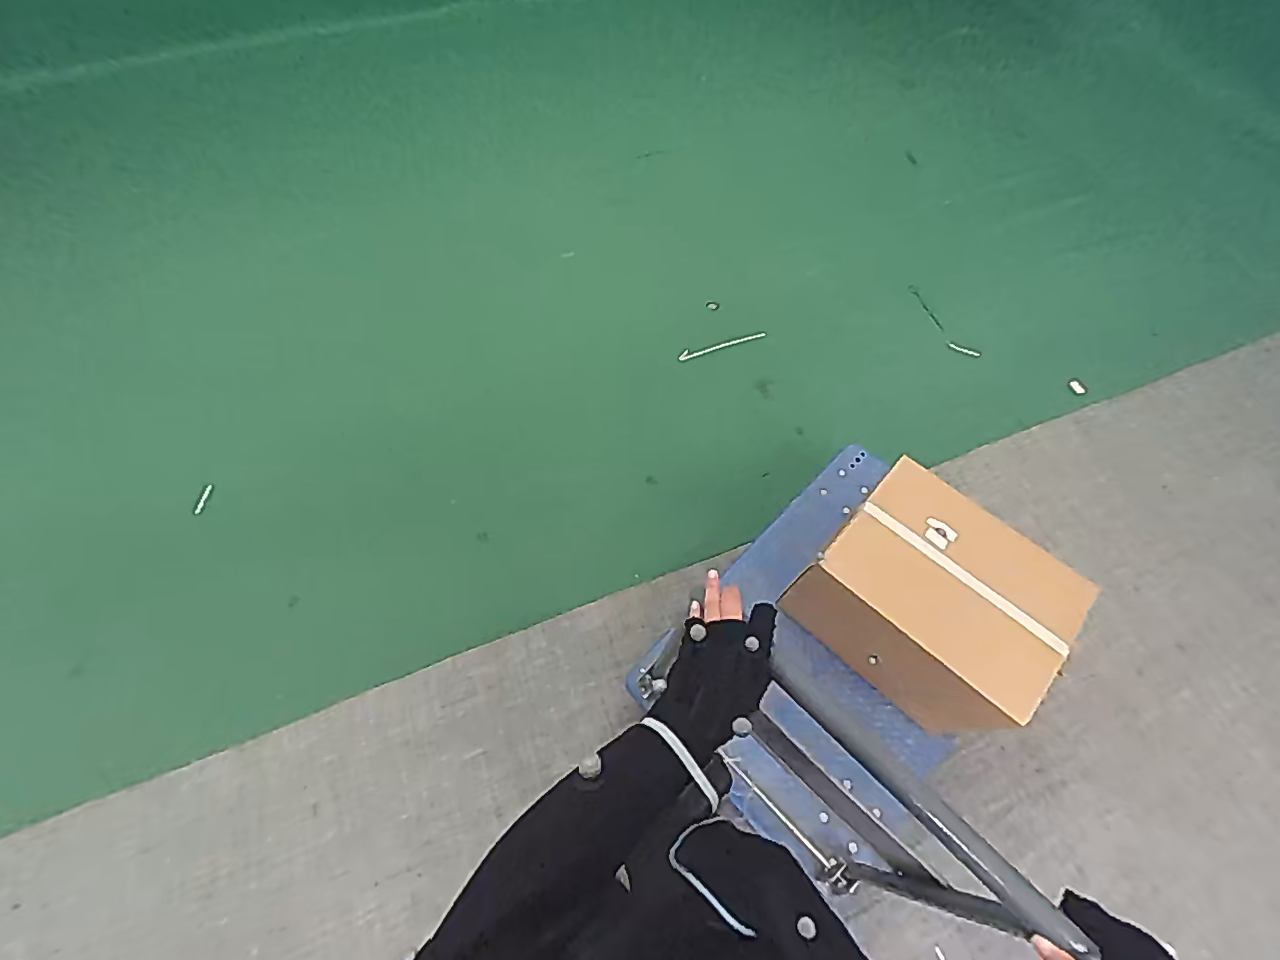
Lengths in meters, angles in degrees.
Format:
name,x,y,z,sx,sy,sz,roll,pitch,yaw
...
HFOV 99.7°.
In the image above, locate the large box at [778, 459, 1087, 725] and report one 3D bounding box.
name,x,y,z,sx,sy,sz,roll,pitch,yaw
large box,0.565,0.239,1.120,0.408,0.320,0.320,40,68,18
